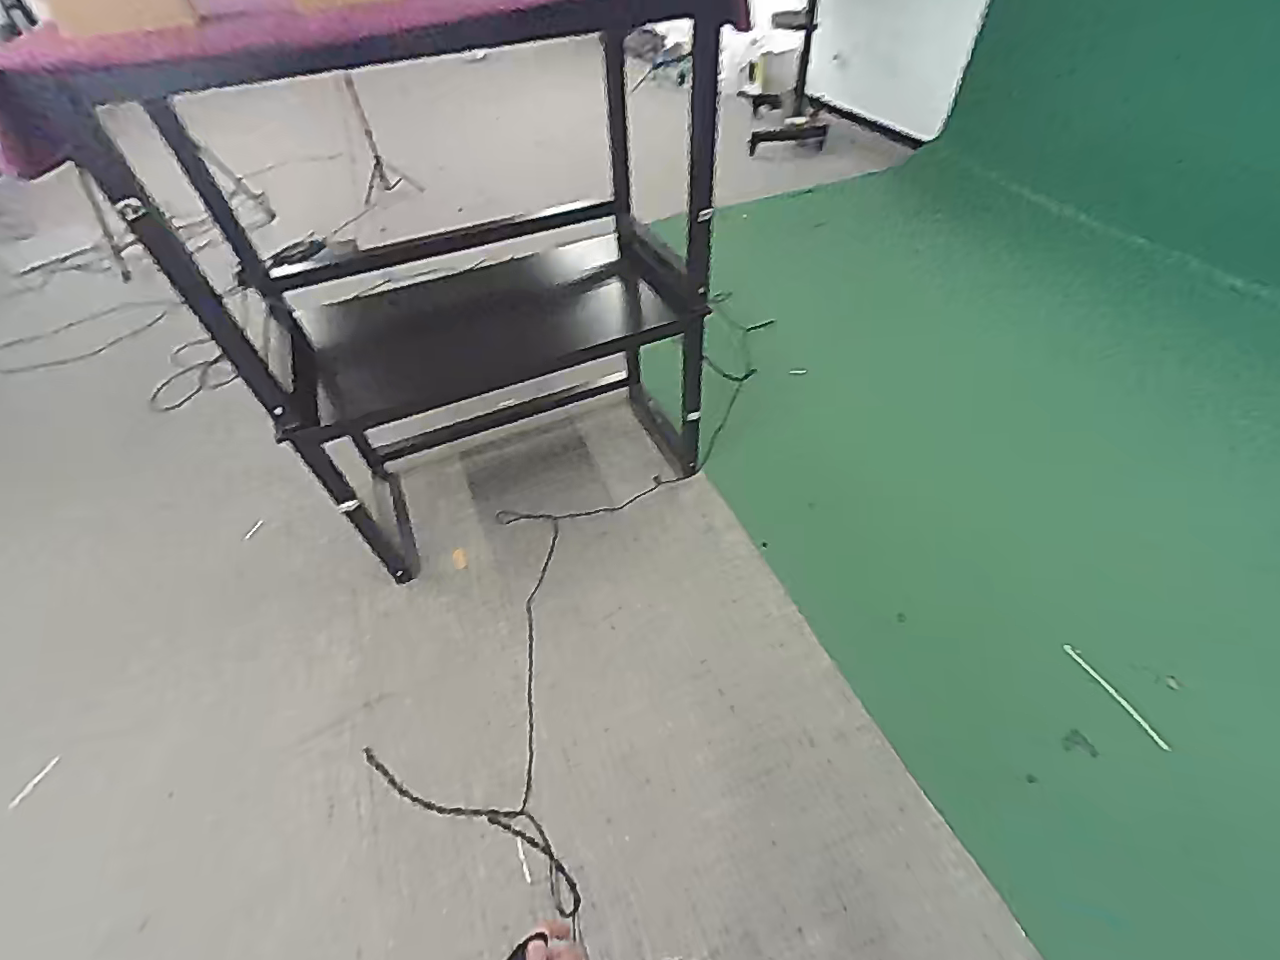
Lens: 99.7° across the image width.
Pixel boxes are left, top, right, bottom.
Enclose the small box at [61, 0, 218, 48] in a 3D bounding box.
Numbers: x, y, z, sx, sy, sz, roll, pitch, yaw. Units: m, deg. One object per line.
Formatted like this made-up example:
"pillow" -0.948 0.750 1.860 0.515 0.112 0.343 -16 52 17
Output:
"small box" -0.813 -0.801 0.849 0.179 0.176 0.168 -22 51 -17
